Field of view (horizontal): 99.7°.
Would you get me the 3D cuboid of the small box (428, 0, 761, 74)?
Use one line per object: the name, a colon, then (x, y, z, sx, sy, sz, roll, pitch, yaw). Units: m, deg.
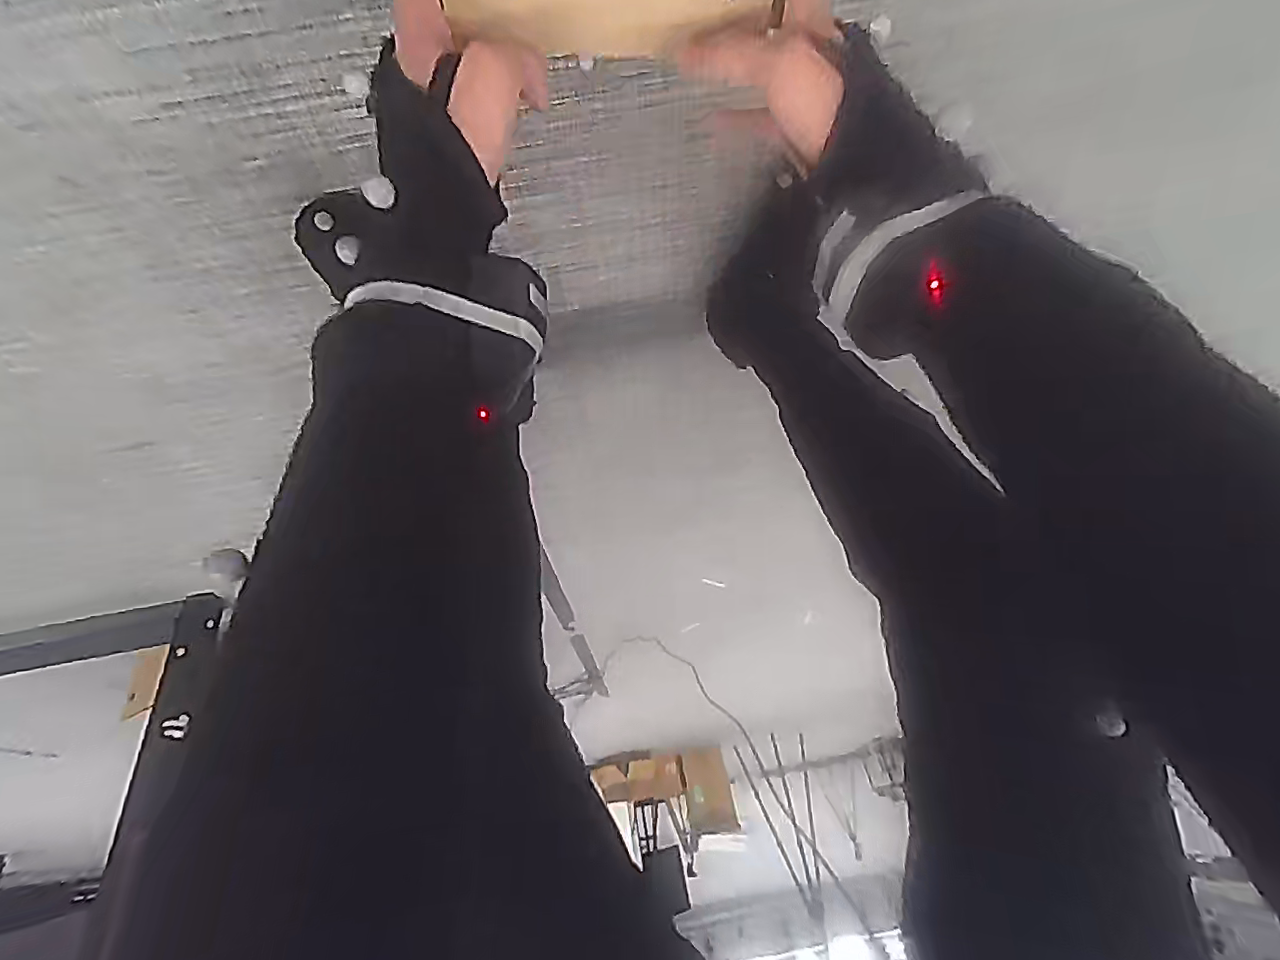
small box: (-0.032, -0.340, 0.297, 0.179, 0.176, 0.168, -5, 134, -8)

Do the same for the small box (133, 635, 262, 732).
small box: (-1.029, 0.481, 1.272, 0.179, 0.176, 0.168, -27, 145, 23)
